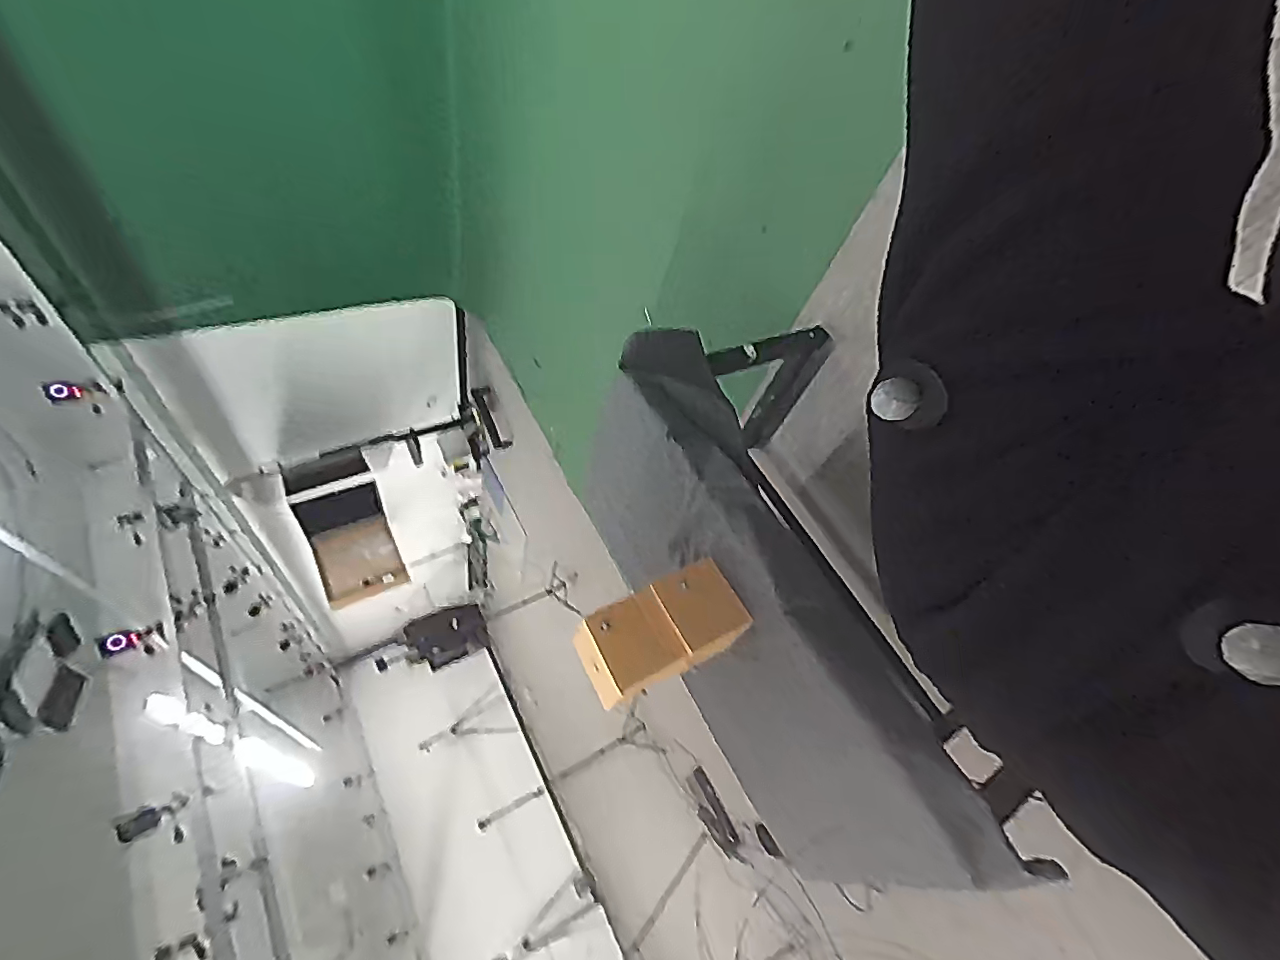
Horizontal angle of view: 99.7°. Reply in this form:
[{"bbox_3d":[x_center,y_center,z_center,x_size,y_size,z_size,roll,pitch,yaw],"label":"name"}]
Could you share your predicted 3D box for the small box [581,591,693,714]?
[{"bbox_3d":[-0.009,0.371,1.170,0.179,0.176,0.168,58,151,24],"label":"small box"}]
